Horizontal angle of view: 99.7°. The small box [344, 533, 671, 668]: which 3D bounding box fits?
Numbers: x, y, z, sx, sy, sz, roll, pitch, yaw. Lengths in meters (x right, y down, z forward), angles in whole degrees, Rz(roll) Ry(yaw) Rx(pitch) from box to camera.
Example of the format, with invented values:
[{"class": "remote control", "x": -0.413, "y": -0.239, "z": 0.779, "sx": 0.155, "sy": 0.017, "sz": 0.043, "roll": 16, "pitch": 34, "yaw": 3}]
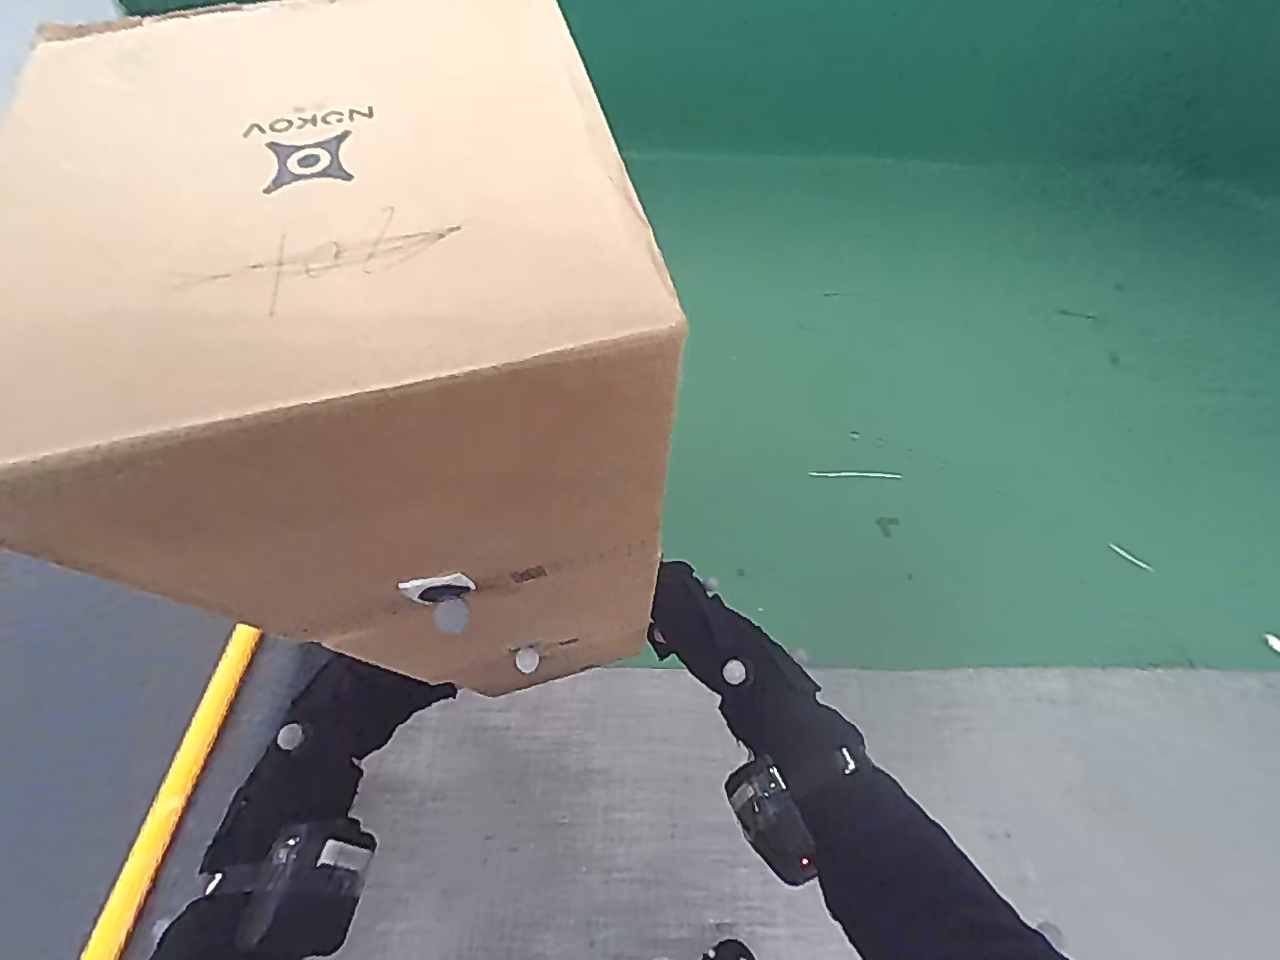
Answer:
[{"class": "small box", "x": -0.085, "y": 0.015, "z": 0.377, "sx": 0.168, "sy": 0.176, "sz": 0.179, "roll": -13, "pitch": 65, "yaw": -7}]
